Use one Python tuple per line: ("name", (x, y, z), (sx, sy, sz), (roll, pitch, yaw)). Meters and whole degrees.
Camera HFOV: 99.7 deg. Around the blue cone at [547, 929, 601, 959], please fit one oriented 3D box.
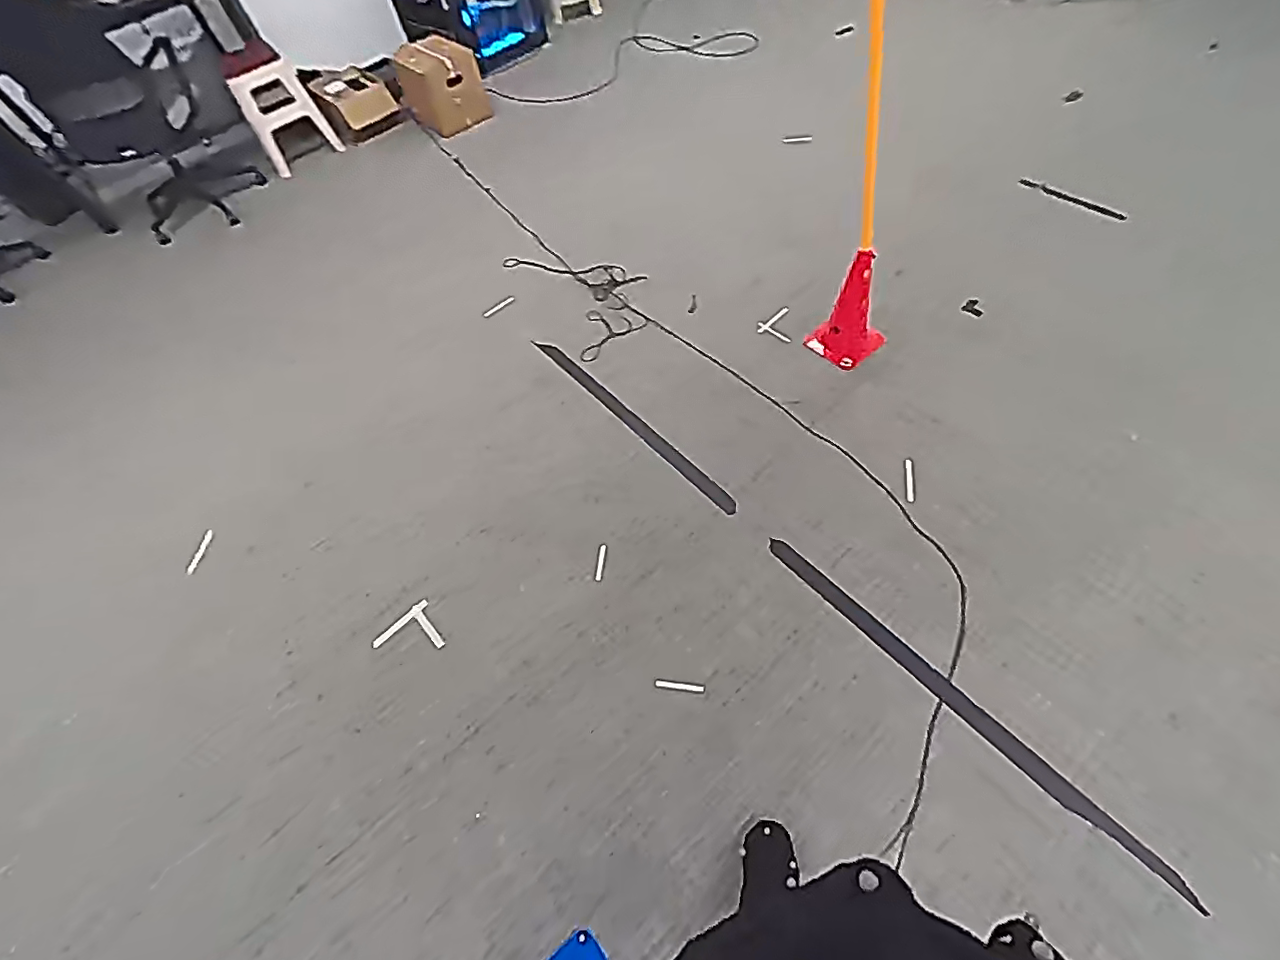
("blue cone", (-0.159, 0.931, 0.898), (0.193, 0.380, 0.192), (-36, 59, -14))
